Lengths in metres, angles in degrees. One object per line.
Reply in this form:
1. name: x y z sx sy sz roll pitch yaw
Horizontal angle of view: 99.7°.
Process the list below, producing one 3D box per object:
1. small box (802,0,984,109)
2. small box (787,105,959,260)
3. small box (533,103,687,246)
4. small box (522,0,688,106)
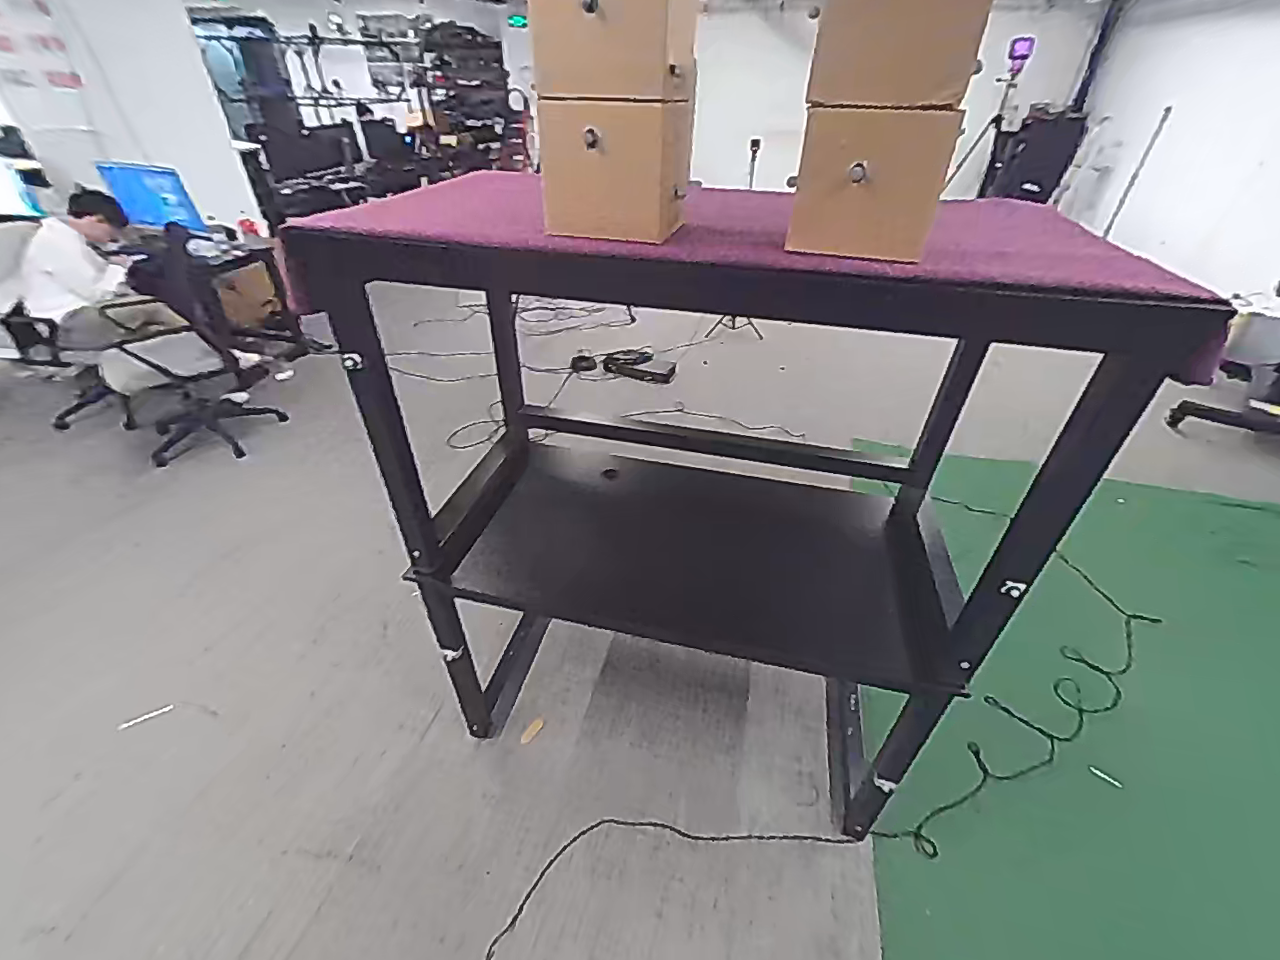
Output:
1. small box: 0.297 -0.538 0.638 0.179 0.176 0.168 11 38 15
2. small box: 0.301 -0.404 0.733 0.179 0.176 0.168 10 38 15
3. small box: -0.036 -0.451 0.796 0.179 0.176 0.168 10 38 13
4. small box: -0.035 -0.584 0.698 0.179 0.176 0.168 9 37 14
